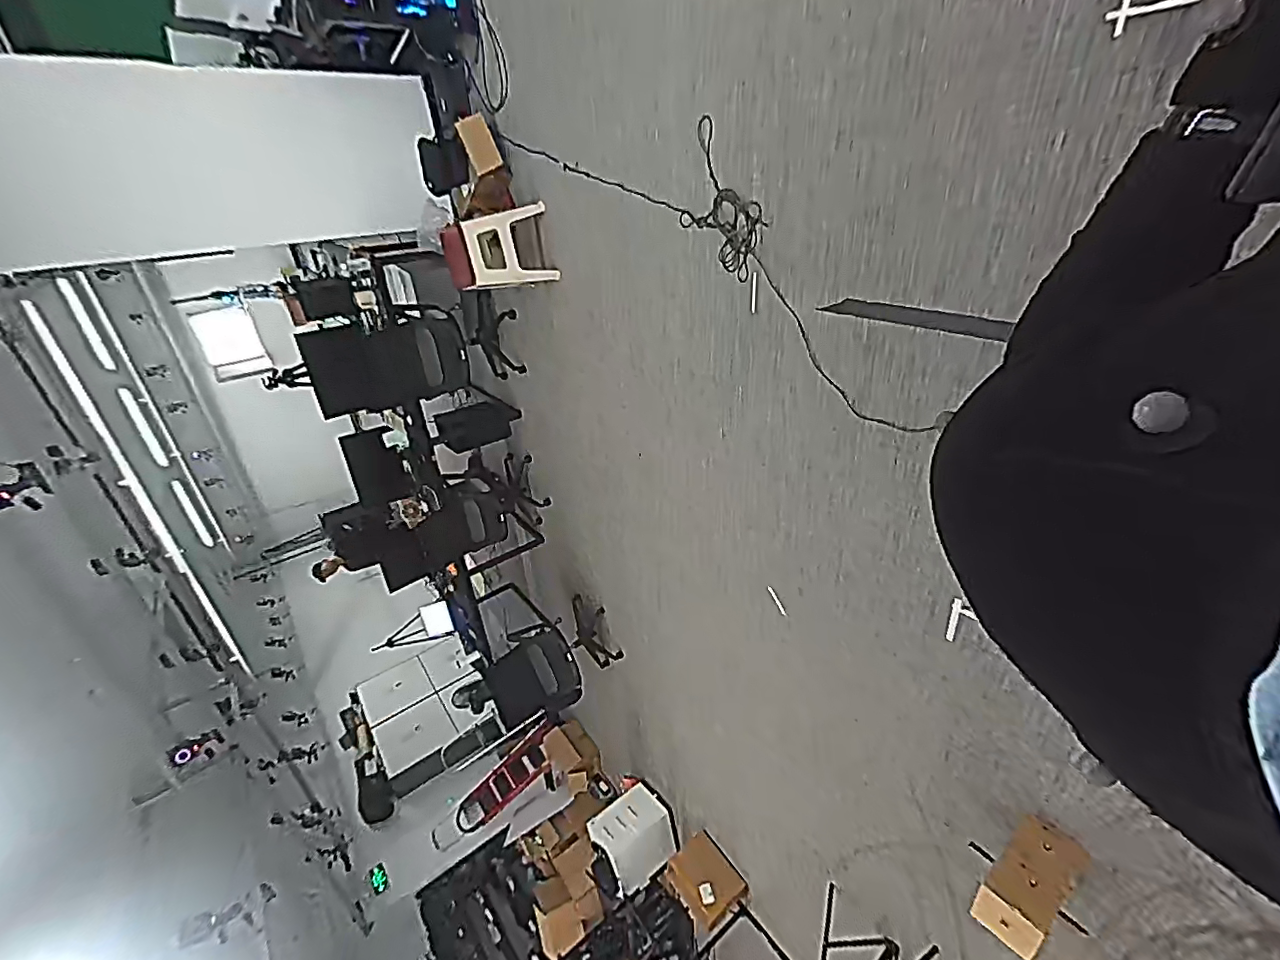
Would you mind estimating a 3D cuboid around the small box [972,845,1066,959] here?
[{"bbox_3d":[1.135,1.255,1.618,0.168,0.176,0.179,27,132,47],"label":"small box"}]

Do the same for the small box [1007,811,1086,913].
[{"bbox_3d":[1.263,1.197,1.700,0.168,0.176,0.179,27,132,48],"label":"small box"}]
